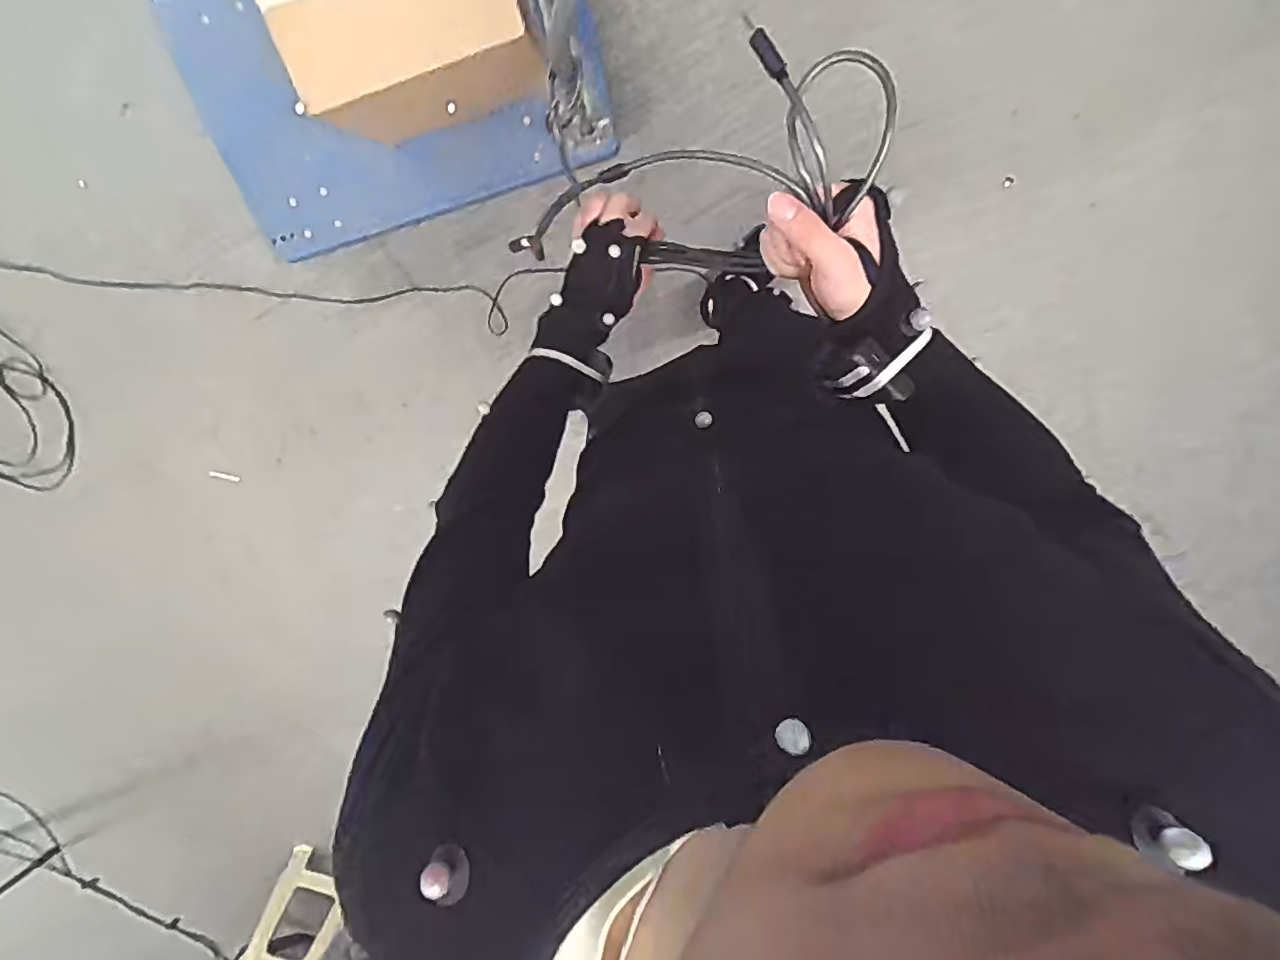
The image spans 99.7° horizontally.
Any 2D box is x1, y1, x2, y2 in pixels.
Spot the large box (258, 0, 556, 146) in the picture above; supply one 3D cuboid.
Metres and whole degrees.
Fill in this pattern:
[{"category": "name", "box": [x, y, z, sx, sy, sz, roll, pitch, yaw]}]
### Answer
[{"category": "large box", "box": [-0.410, -0.857, 0.980, 0.408, 0.320, 0.320, -14, 112, 8]}]
